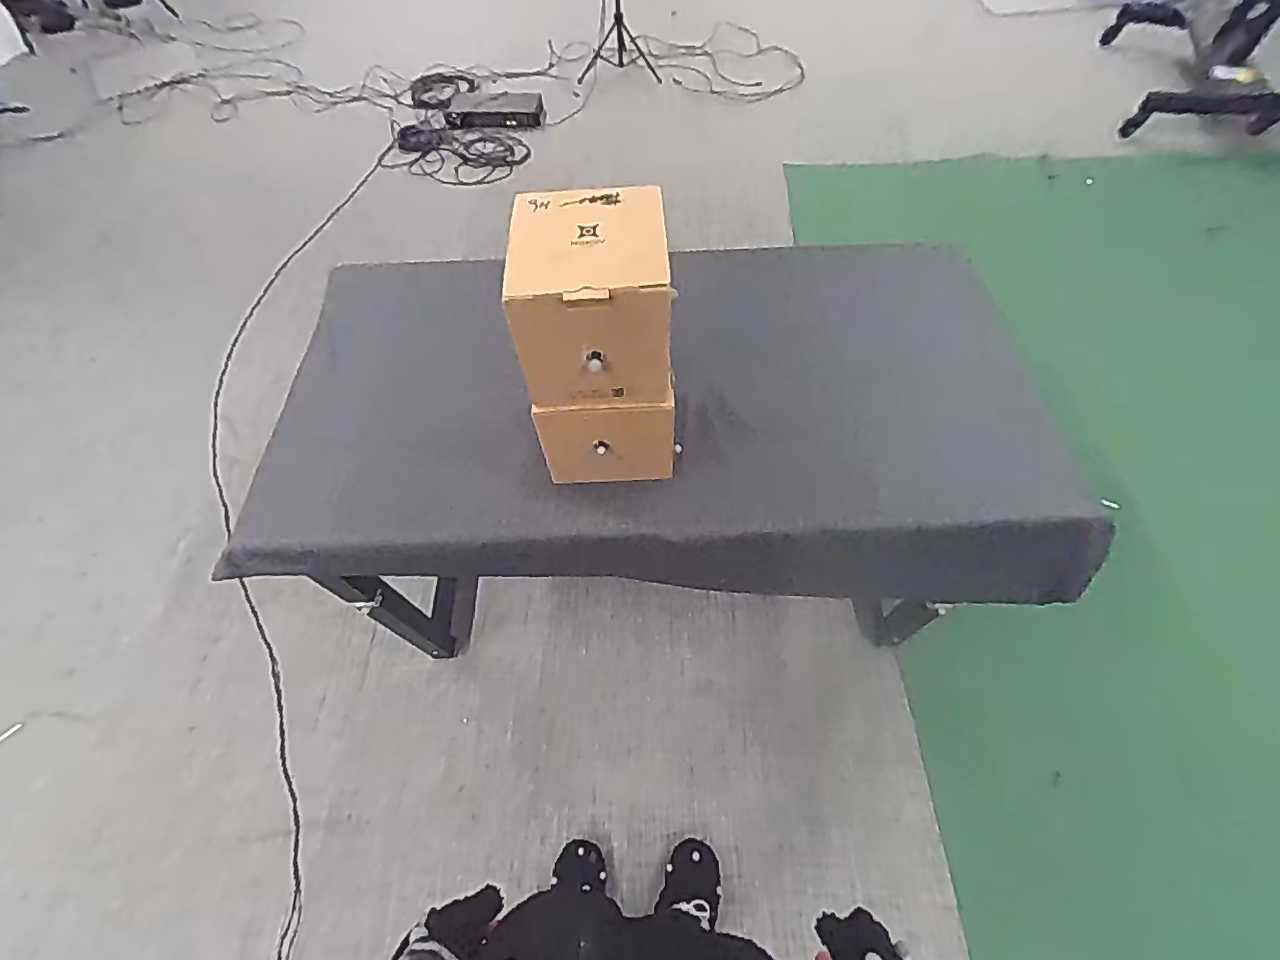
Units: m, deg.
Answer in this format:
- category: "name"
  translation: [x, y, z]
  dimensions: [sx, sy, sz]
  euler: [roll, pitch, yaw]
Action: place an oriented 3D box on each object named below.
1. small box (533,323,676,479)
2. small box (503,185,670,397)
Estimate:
- category: "small box"
  translation: [-0.043, -0.113, 0.761]
  dimensions: [0.179, 0.176, 0.168]
  euler: [-3, 58, 1]
- category: "small box"
  translation: [-0.051, -0.209, 0.629]
  dimensions: [0.168, 0.176, 0.179]
  euler: [-3, 59, 1]
